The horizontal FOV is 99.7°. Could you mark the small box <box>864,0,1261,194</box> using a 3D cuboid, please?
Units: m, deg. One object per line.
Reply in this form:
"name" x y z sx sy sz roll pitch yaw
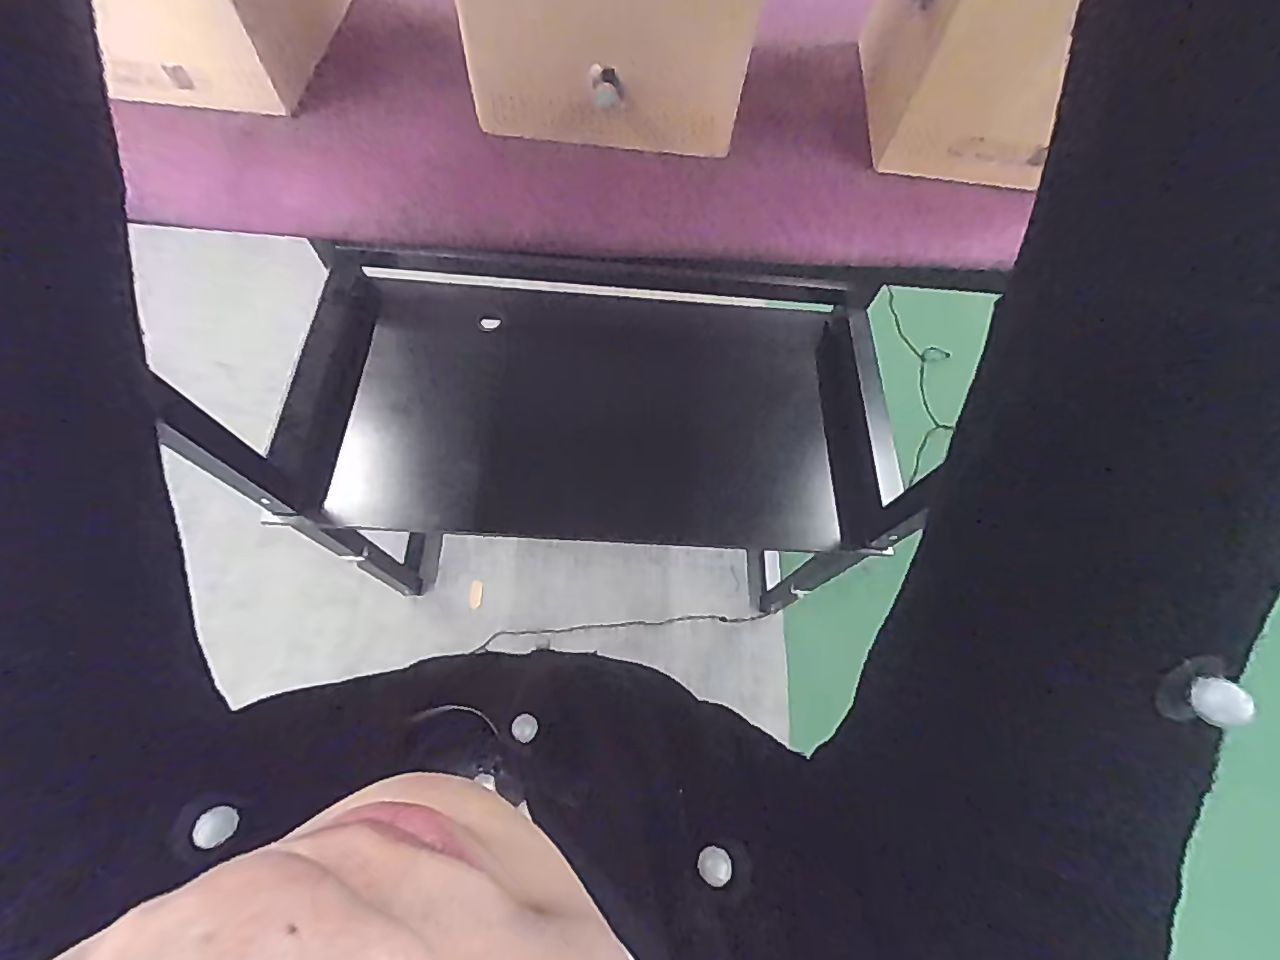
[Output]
"small box" 0.264 -0.321 0.353 0.168 0.176 0.179 7 65 -1
